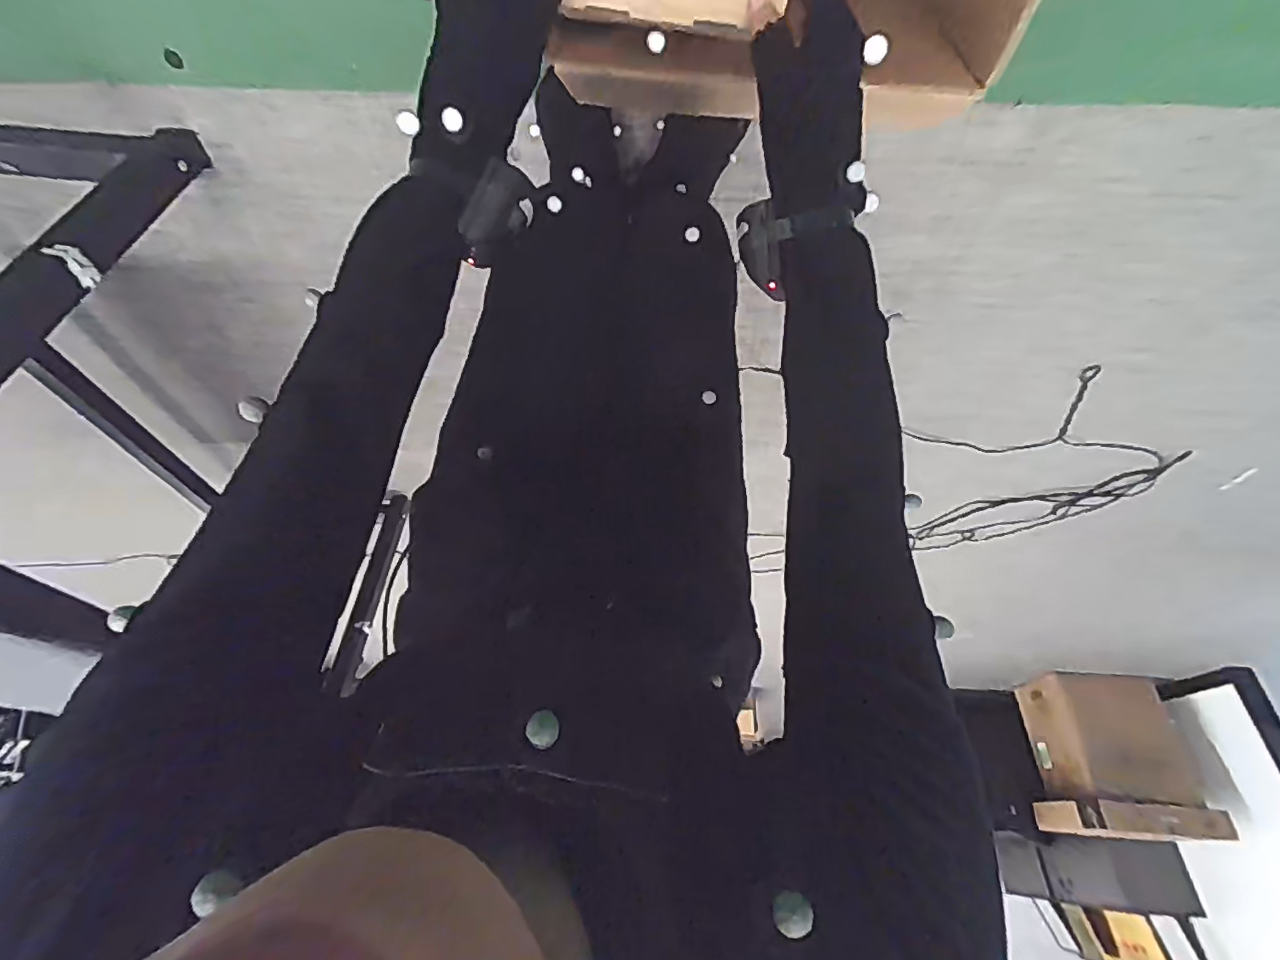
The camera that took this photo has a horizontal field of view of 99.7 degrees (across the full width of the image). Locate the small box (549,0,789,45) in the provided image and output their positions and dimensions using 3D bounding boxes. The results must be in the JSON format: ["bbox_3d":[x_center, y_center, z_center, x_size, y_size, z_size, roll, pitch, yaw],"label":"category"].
[{"bbox_3d":[0.025,-0.424,0.373,0.168,0.176,0.179,5,128,-3],"label":"small box"}]
